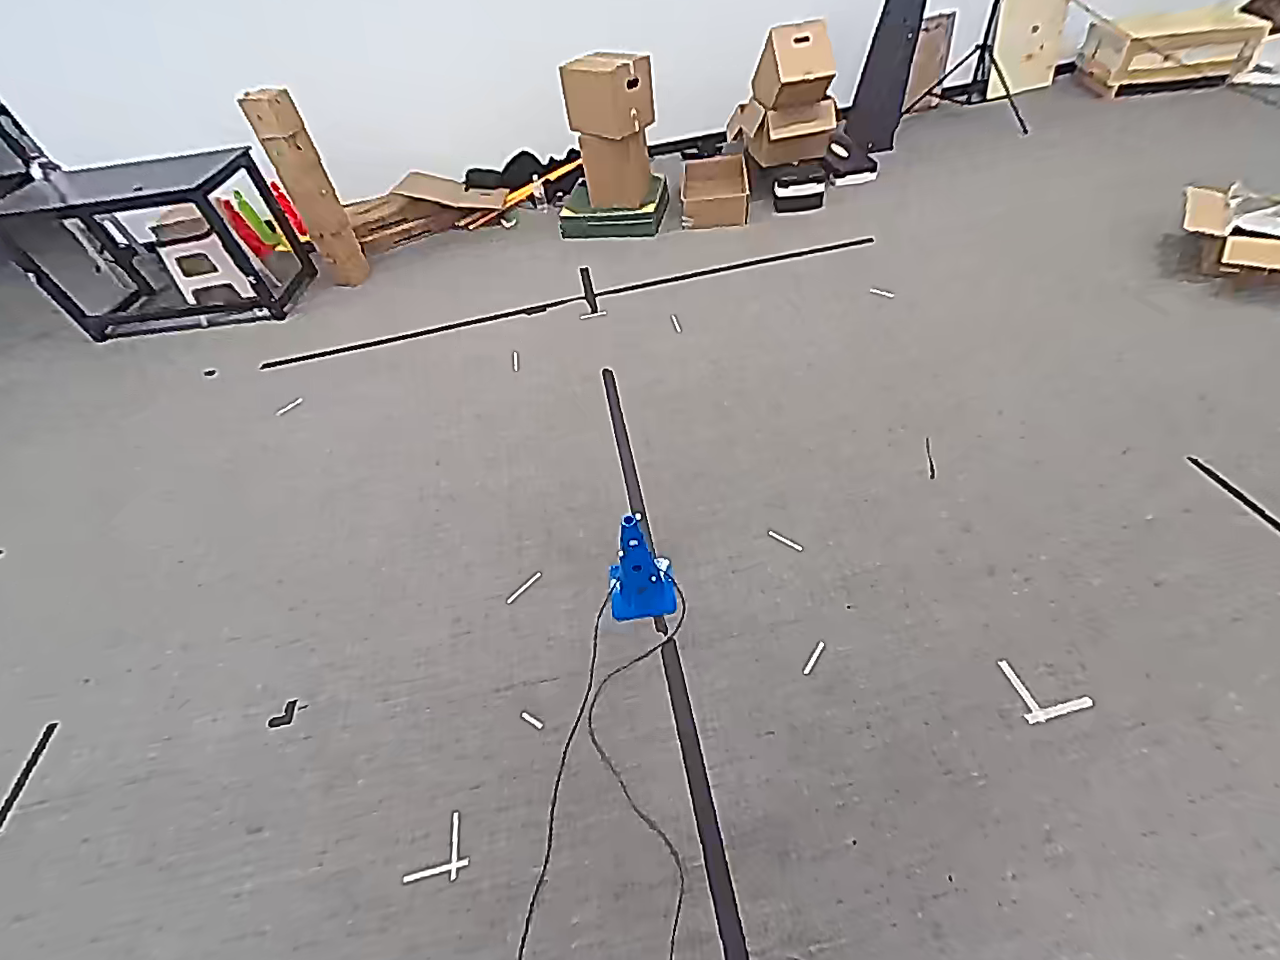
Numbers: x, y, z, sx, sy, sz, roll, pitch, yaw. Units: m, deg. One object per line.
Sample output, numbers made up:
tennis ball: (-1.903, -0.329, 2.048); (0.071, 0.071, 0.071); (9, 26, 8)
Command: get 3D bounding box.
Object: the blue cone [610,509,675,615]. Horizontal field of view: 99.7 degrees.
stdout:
blue cone: (-0.011, 0.218, 1.552); (0.193, 0.380, 0.192); (-10, 48, 0)
